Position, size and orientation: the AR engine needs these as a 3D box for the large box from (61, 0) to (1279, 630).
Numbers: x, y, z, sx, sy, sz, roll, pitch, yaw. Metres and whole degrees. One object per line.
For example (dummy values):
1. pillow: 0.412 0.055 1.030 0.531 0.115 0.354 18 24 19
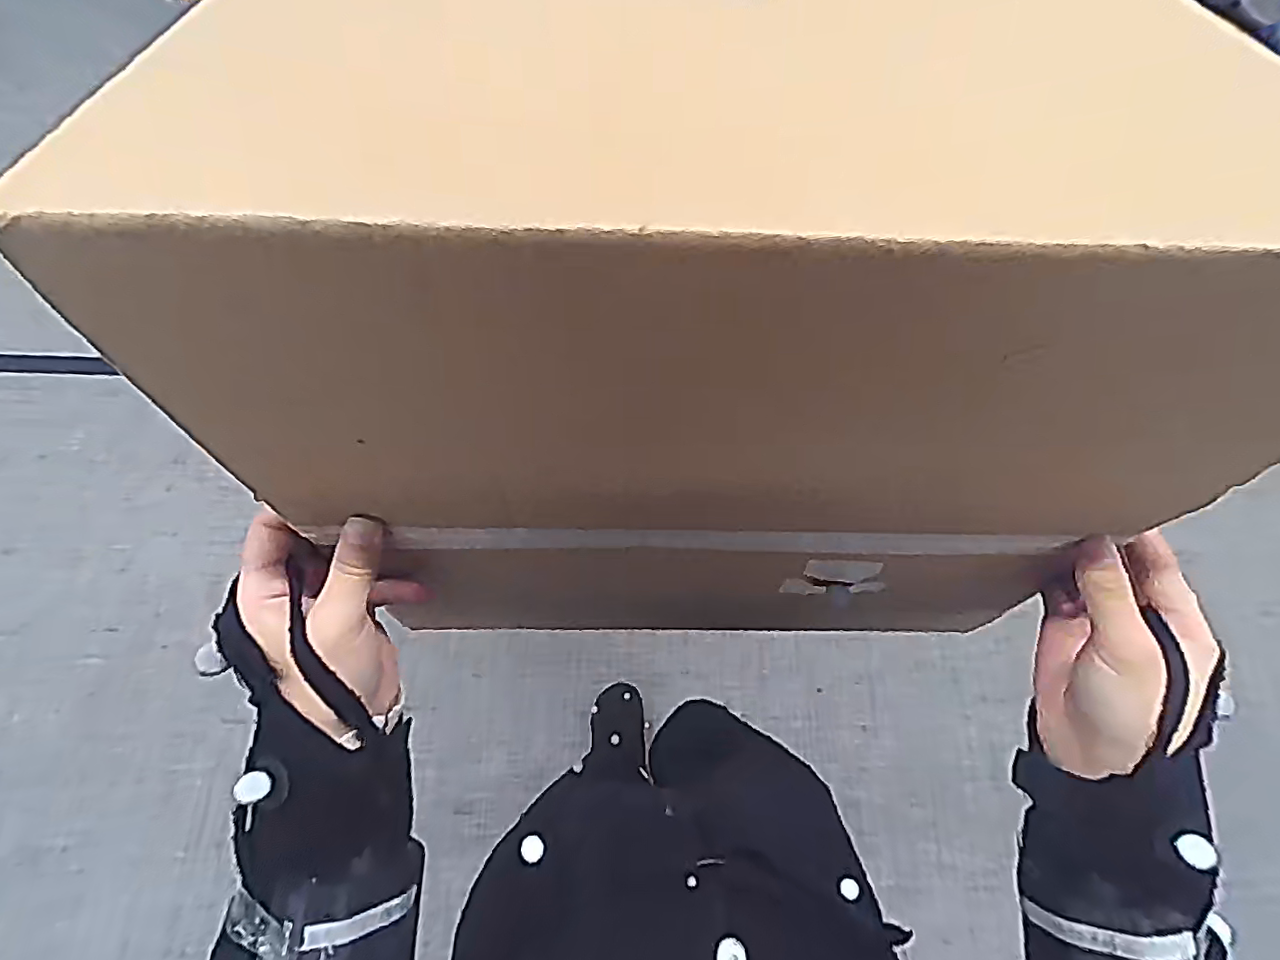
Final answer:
1. large box: 0.034 -0.102 0.350 0.408 0.320 0.320 0 59 -2
